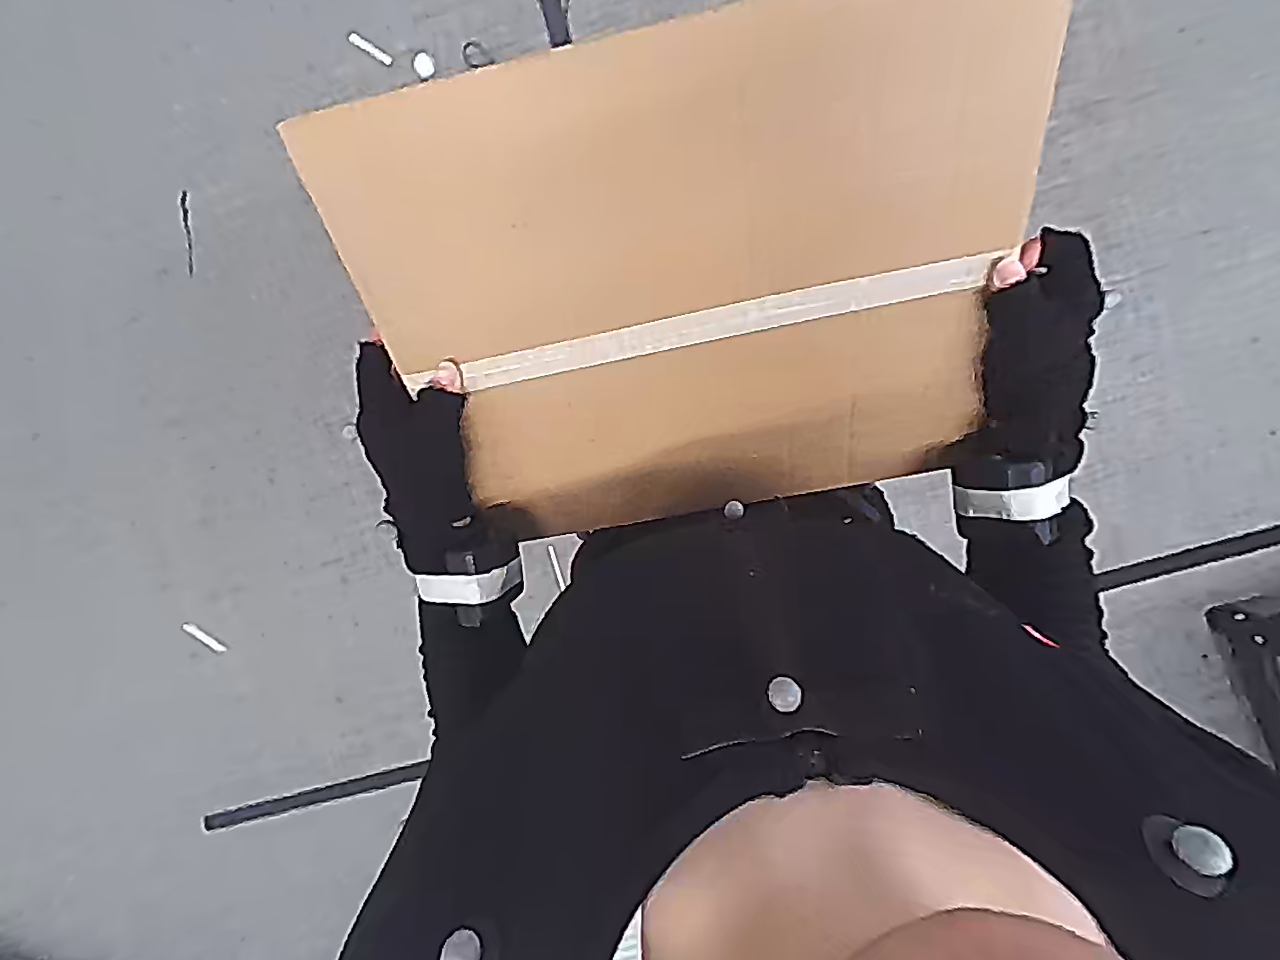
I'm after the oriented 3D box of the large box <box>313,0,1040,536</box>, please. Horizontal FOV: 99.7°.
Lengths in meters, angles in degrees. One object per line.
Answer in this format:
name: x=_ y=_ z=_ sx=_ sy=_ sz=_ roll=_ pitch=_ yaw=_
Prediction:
large box: x=0.031 y=-0.192 z=0.490 sx=0.408 sy=0.320 sz=0.320 roll=-10 pitch=127 yaw=5
